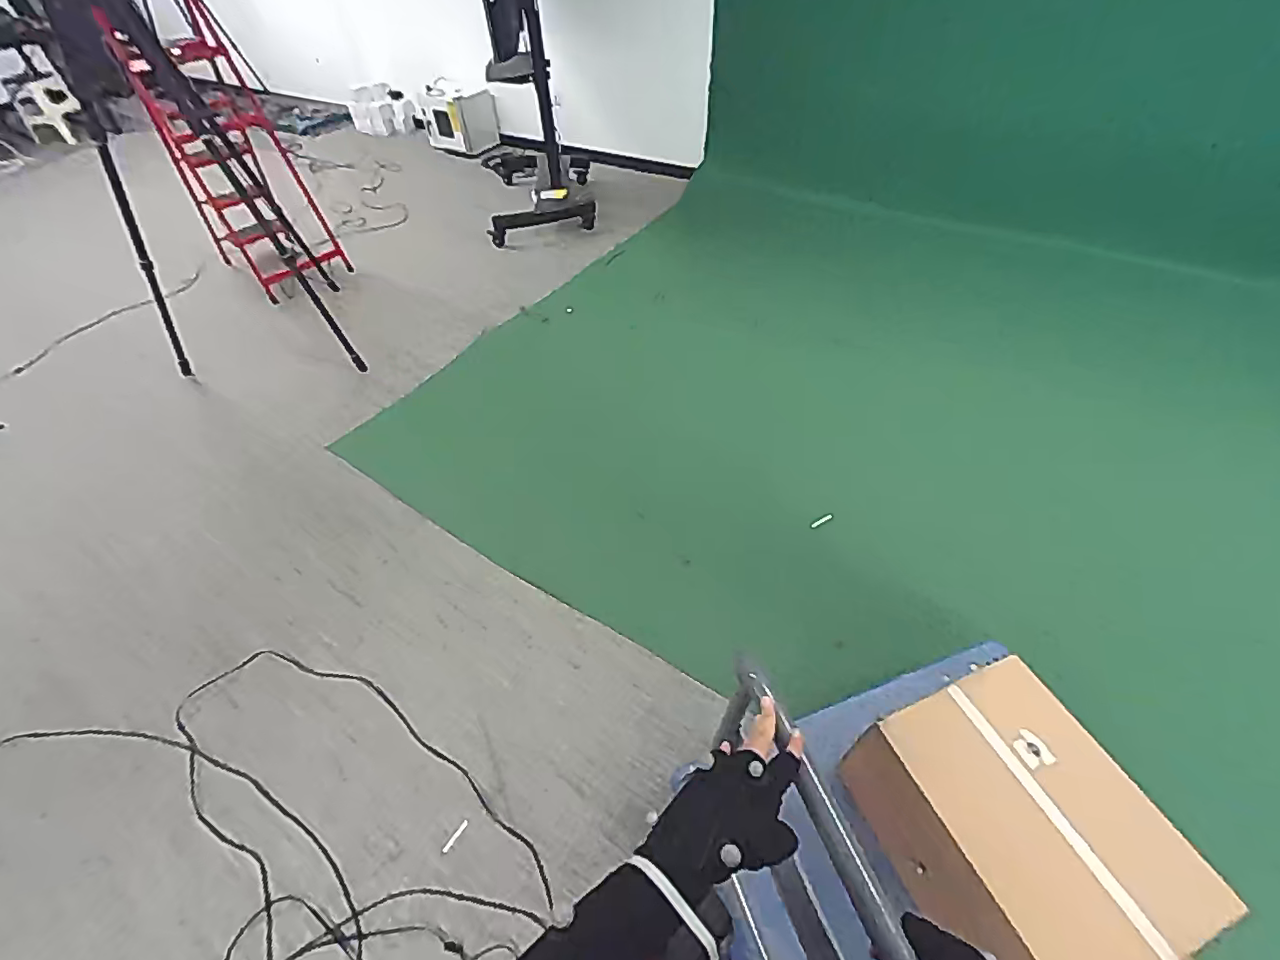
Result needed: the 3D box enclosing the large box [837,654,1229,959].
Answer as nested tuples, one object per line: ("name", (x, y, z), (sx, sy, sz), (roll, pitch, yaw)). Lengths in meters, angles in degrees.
("large box", (0.623, 0.601, 0.958), (0.320, 0.320, 0.408), (-18, 49, -14))
